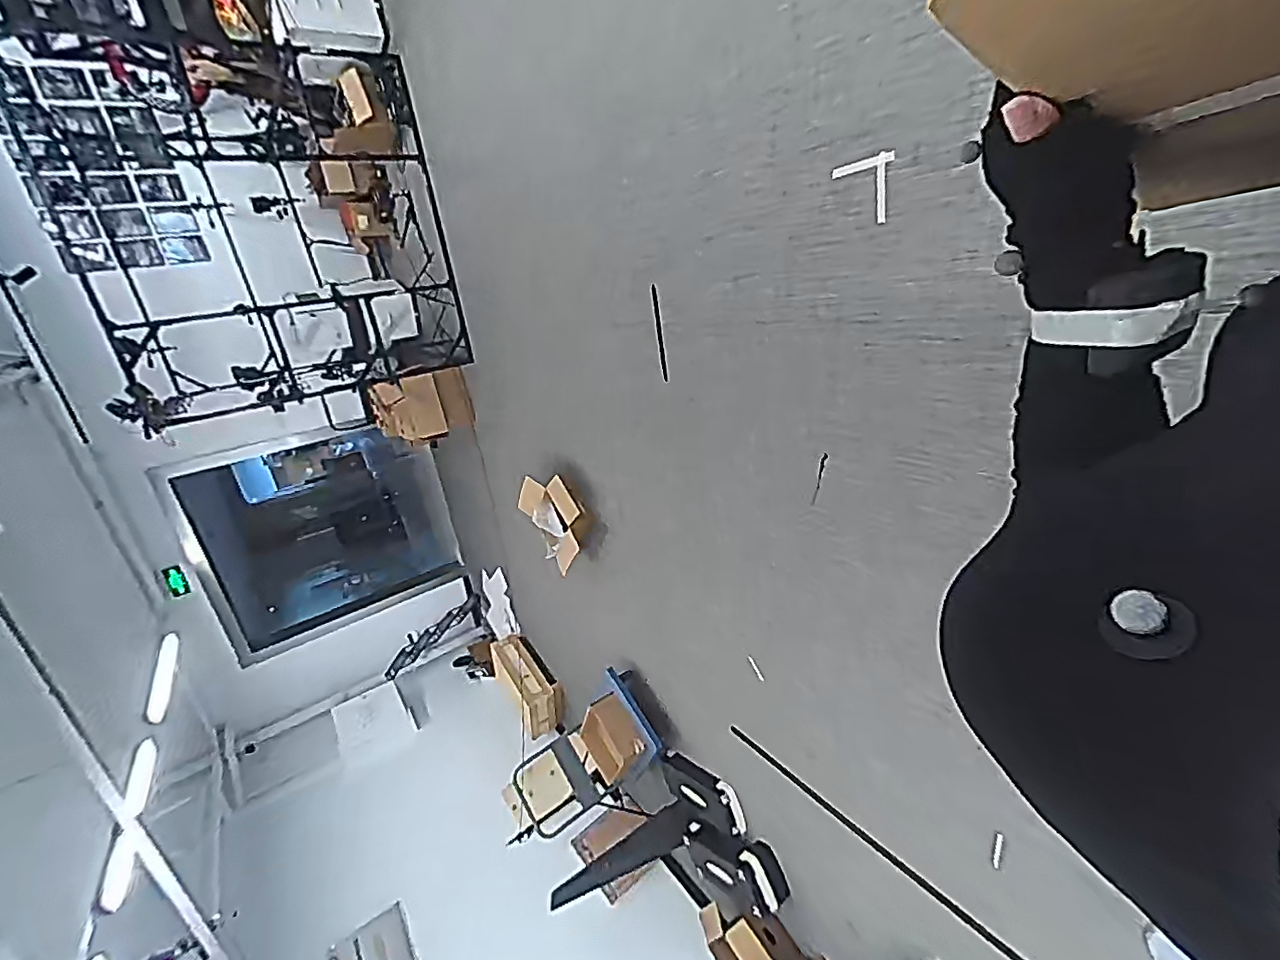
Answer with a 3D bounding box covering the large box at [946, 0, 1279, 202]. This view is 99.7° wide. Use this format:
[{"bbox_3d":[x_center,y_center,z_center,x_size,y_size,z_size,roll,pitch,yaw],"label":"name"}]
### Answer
[{"bbox_3d":[0.359,-0.318,0.122,0.408,0.320,0.320,13,103,53],"label":"large box"}]
